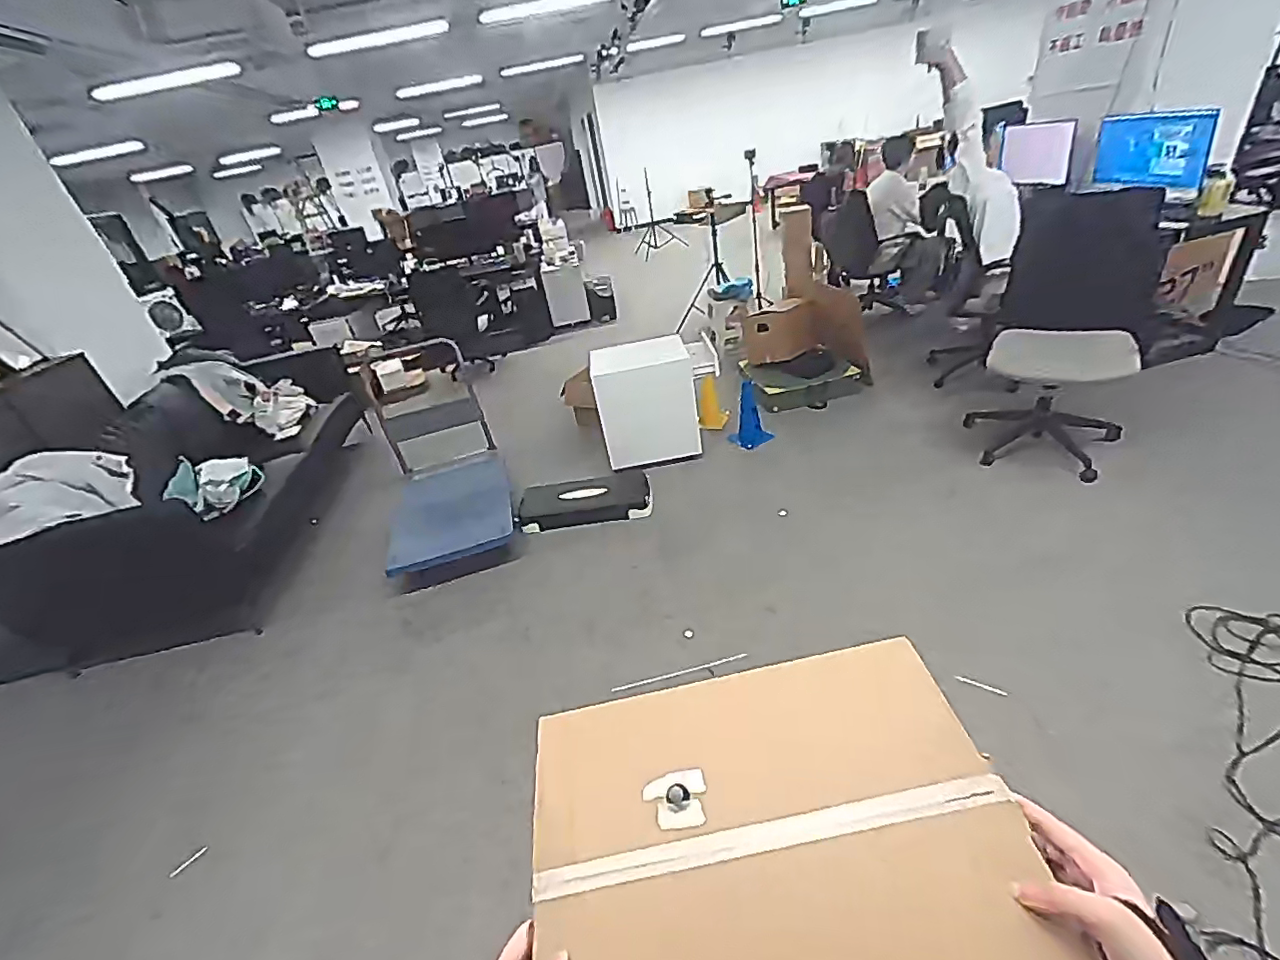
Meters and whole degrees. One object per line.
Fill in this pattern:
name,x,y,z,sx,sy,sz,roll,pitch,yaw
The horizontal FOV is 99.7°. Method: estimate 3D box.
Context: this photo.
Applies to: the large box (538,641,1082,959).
large box,0.138,0.427,0.565,0.408,0.320,0.320,-15,38,3
